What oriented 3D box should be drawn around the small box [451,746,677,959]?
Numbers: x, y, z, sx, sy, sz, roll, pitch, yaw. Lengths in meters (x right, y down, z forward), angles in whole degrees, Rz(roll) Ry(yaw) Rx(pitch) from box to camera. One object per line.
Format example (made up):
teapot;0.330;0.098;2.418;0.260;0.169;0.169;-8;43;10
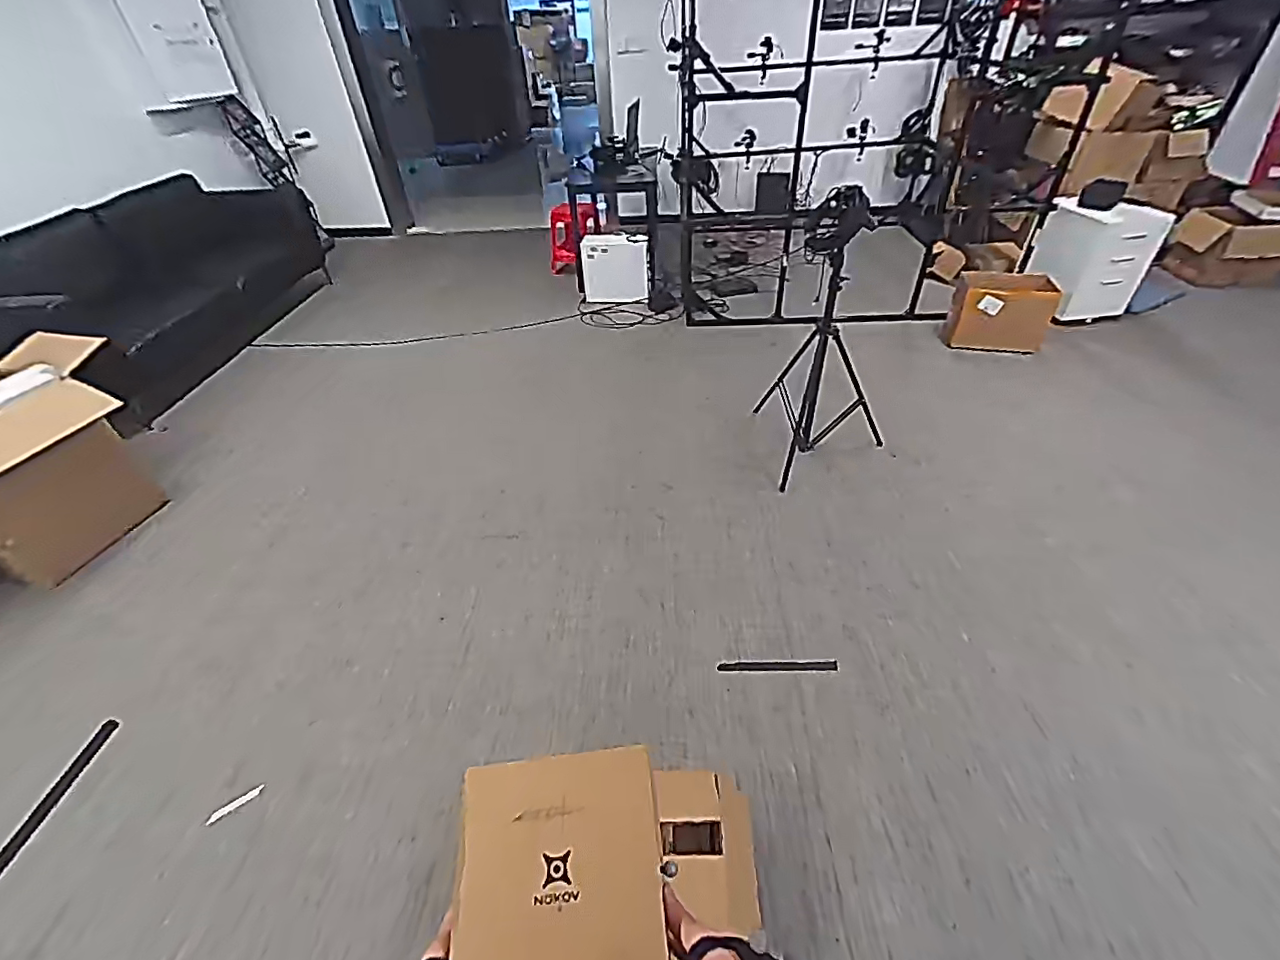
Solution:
small box;-0.058;0.360;0.489;0.168;0.176;0.179;-7;52;-2
